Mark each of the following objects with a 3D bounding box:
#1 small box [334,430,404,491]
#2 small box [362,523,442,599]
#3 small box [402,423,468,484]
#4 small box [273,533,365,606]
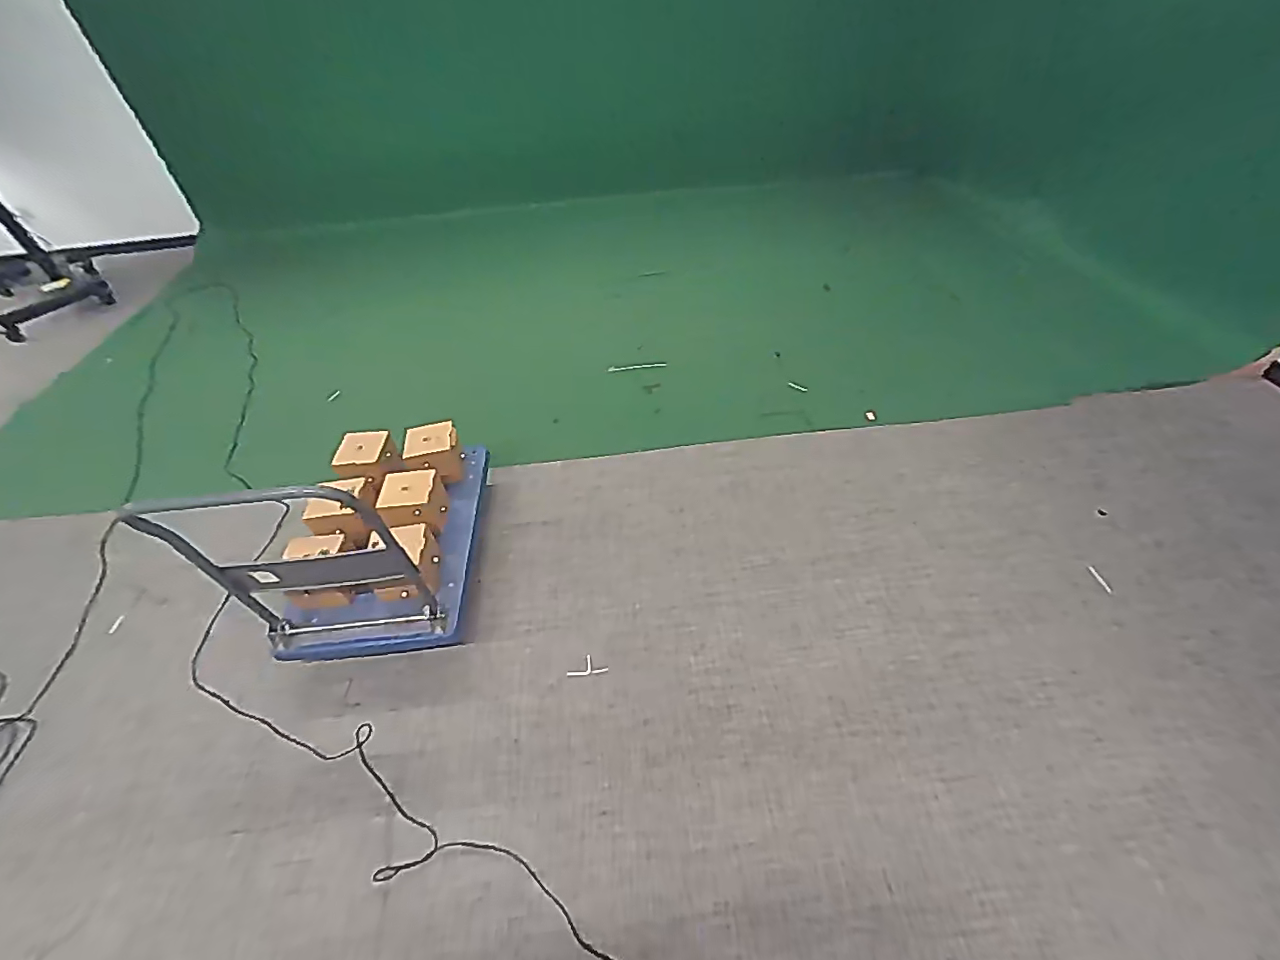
[{"bbox_3d":[-1.029,-0.069,2.071,0.168,0.176,0.179,-3,47,1],"label":"small box"},{"bbox_3d":[-0.750,0.262,1.730,0.179,0.176,0.168,-7,46,-2],"label":"small box"},{"bbox_3d":[-0.778,-0.098,2.071,0.179,0.176,0.168,-5,49,-1],"label":"small box"},{"bbox_3d":[-1.012,0.289,1.727,0.179,0.176,0.168,-4,46,2],"label":"small box"}]
